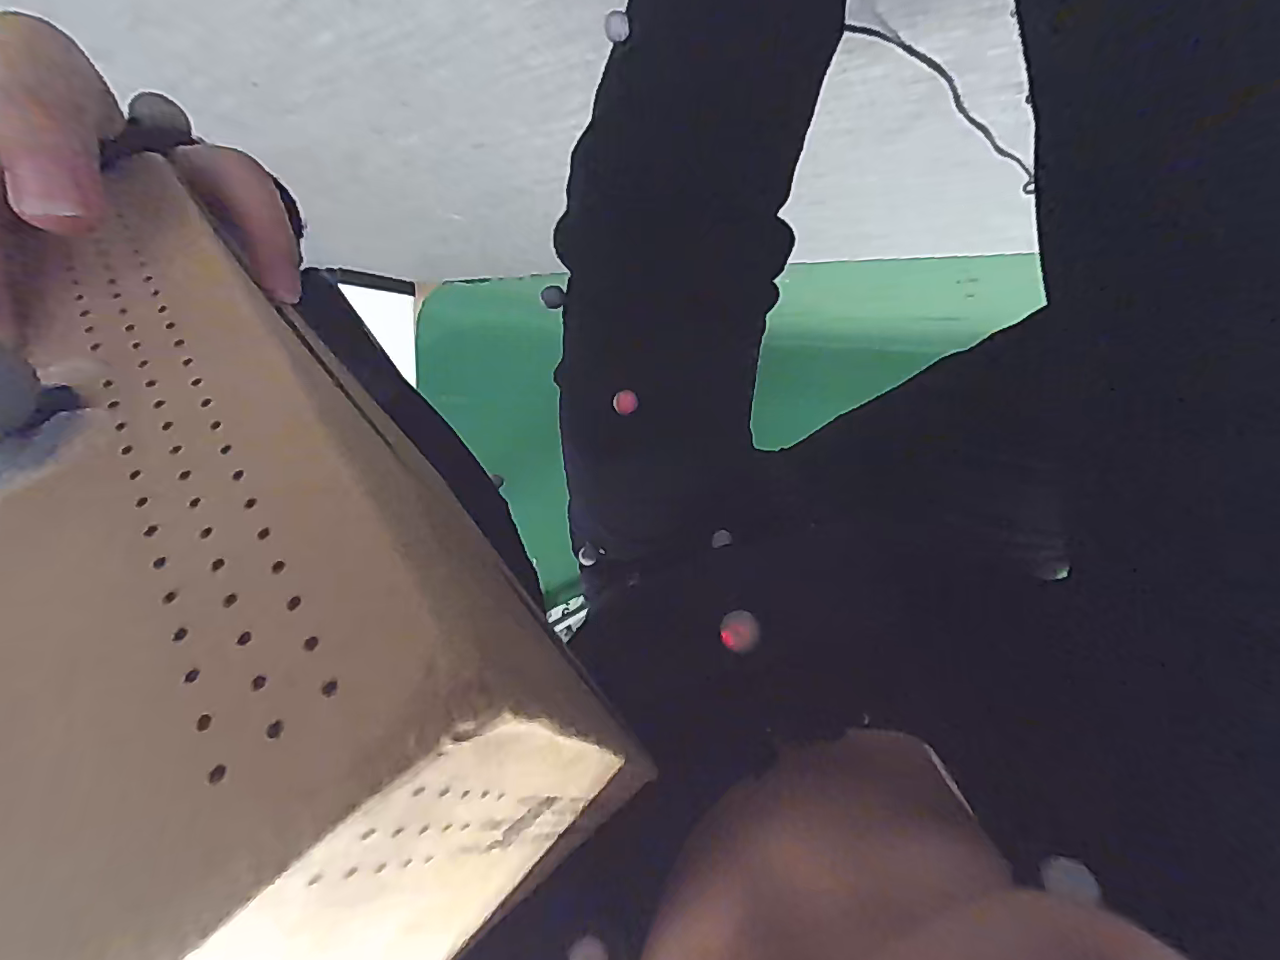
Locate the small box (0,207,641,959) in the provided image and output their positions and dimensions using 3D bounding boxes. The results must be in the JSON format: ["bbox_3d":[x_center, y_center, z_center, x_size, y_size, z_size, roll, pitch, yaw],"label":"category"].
[{"bbox_3d":[-0.122,0.056,0.155,0.176,0.168,0.179,-38,-119,-13],"label":"small box"}]
